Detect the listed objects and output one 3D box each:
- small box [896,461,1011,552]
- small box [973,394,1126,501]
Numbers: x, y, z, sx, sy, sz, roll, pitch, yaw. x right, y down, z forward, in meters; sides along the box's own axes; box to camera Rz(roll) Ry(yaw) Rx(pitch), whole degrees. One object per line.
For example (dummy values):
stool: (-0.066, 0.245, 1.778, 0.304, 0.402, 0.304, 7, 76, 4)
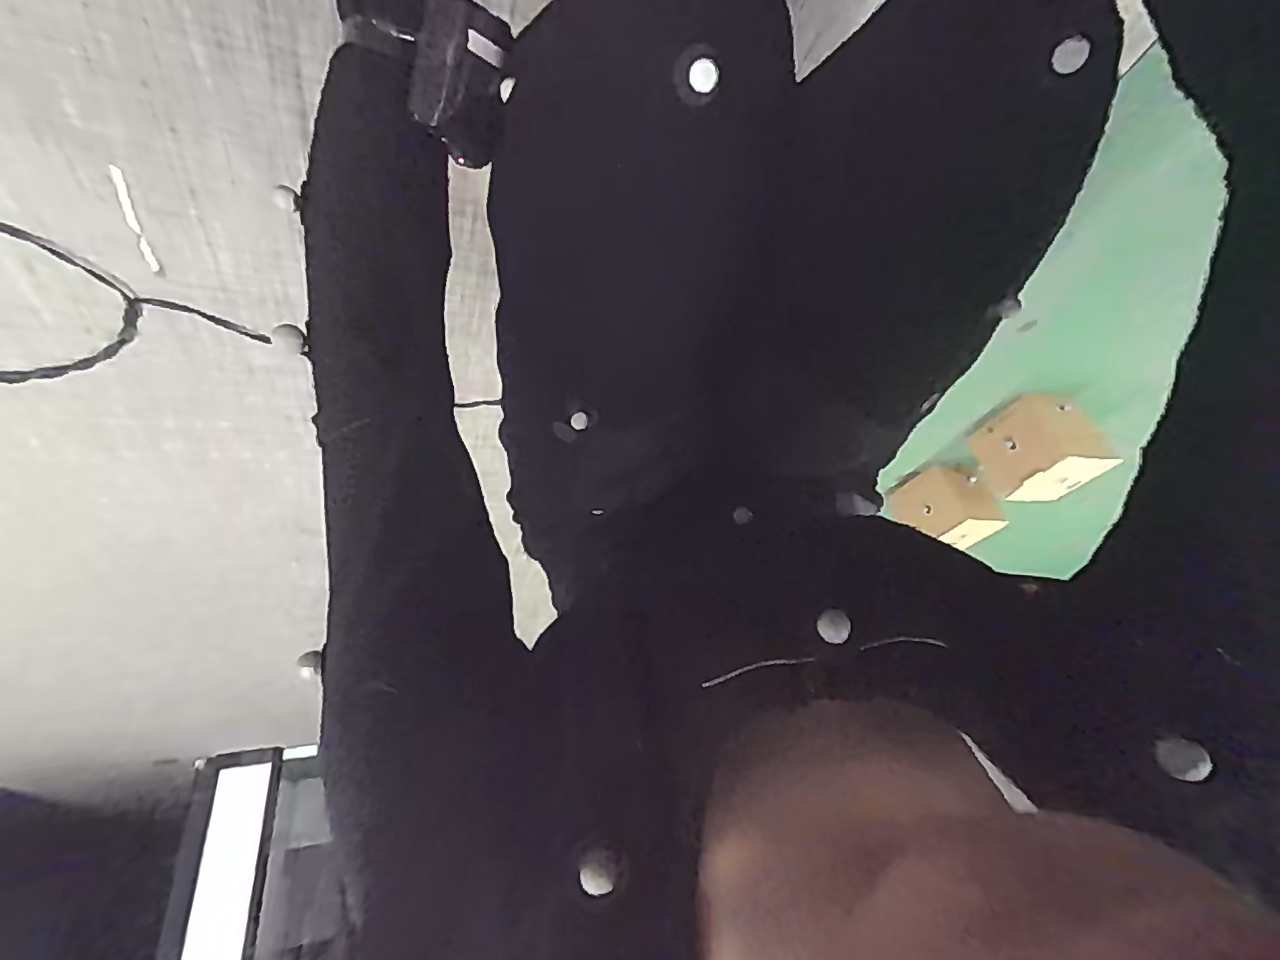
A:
small box: (0.792, 0.072, 1.392, 0.168, 0.176, 0.179, 4, 146, -24)
small box: (0.884, -0.071, 1.186, 0.179, 0.176, 0.168, 3, 146, -20)
